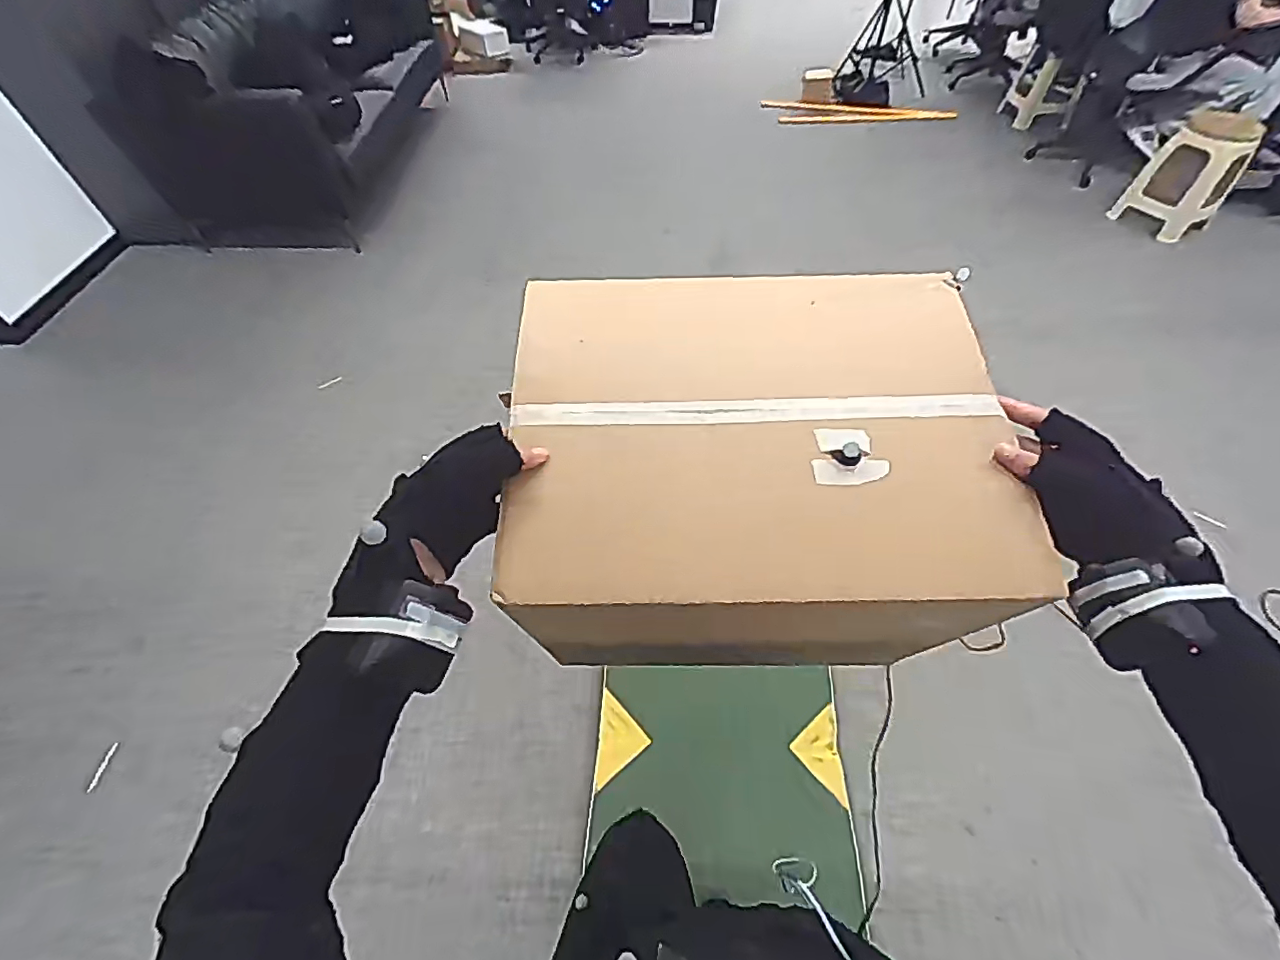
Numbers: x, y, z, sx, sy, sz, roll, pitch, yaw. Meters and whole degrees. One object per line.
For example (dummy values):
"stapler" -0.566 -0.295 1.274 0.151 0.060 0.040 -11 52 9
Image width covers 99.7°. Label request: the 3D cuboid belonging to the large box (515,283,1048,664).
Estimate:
"large box" 0.100 0.013 0.596 0.408 0.320 0.320 -1 63 0
